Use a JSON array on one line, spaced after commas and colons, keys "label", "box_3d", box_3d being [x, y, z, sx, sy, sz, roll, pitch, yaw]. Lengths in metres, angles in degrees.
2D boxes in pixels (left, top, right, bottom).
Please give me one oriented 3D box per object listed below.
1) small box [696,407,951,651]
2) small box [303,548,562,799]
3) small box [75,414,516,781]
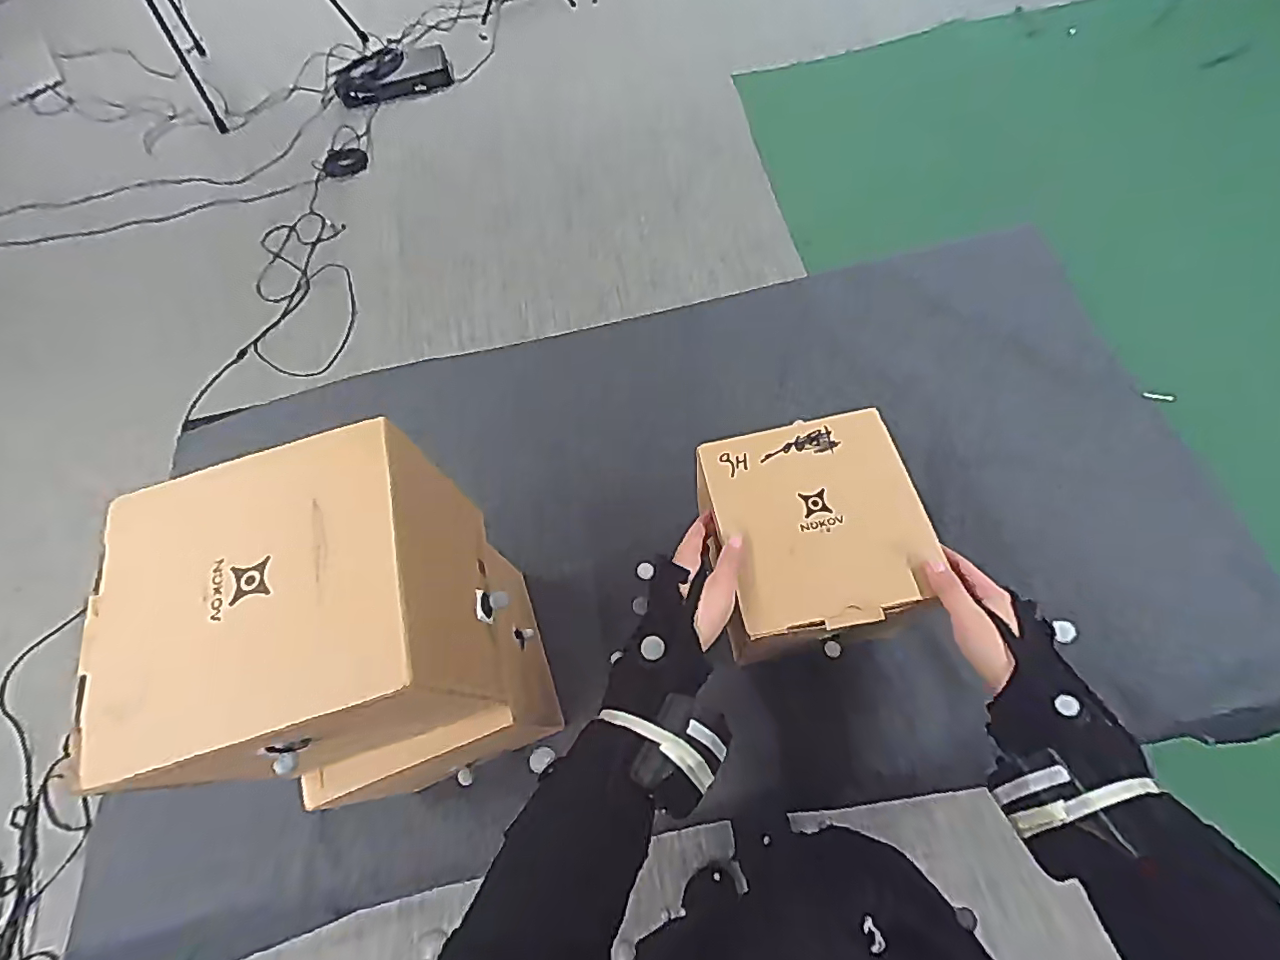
[{"label": "small box", "box_3d": [0.155, 0.060, 0.521, 0.168, 0.176, 0.179, -13, 65, 1]}, {"label": "small box", "box_3d": [-0.188, 0.170, 0.509, 0.168, 0.176, 0.179, -21, 65, -3]}, {"label": "small box", "box_3d": [-0.205, 0.087, 0.369, 0.179, 0.176, 0.168, -18, 65, -3]}]
